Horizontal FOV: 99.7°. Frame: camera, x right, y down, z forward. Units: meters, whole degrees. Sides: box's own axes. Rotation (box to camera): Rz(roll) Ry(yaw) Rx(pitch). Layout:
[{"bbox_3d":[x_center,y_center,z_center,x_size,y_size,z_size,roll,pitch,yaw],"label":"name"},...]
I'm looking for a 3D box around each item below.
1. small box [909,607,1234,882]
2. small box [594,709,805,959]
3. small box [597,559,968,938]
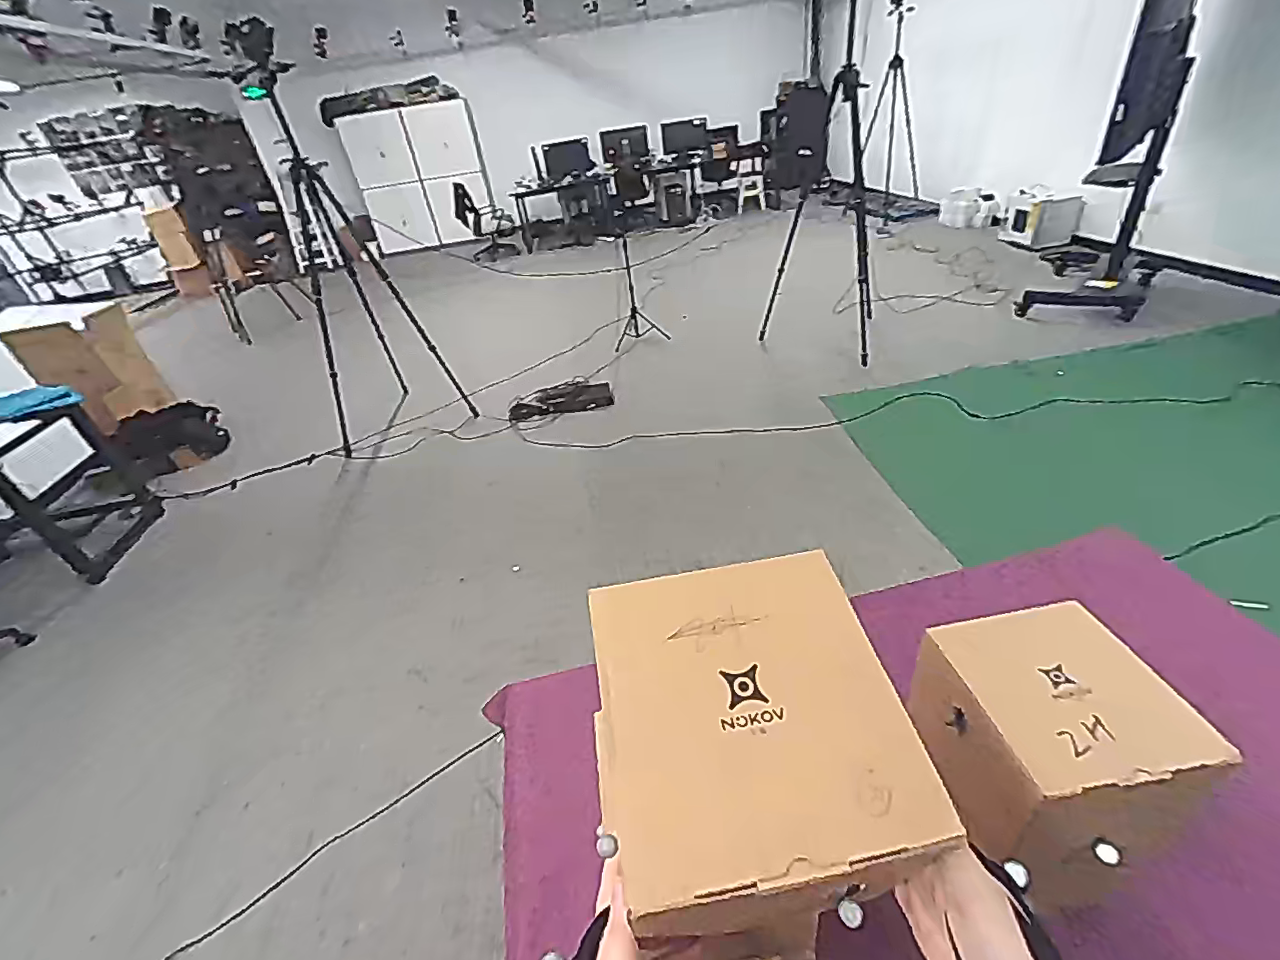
[{"bbox_3d":[0.396,0.260,0.543,0.168,0.176,0.179,-10,35,-1],"label":"small box"},{"bbox_3d":[0.054,0.331,0.519,0.168,0.176,0.179,-10,34,-2],"label":"small box"},{"bbox_3d":[0.066,0.180,0.359,0.168,0.176,0.179,-7,46,-4],"label":"small box"}]
